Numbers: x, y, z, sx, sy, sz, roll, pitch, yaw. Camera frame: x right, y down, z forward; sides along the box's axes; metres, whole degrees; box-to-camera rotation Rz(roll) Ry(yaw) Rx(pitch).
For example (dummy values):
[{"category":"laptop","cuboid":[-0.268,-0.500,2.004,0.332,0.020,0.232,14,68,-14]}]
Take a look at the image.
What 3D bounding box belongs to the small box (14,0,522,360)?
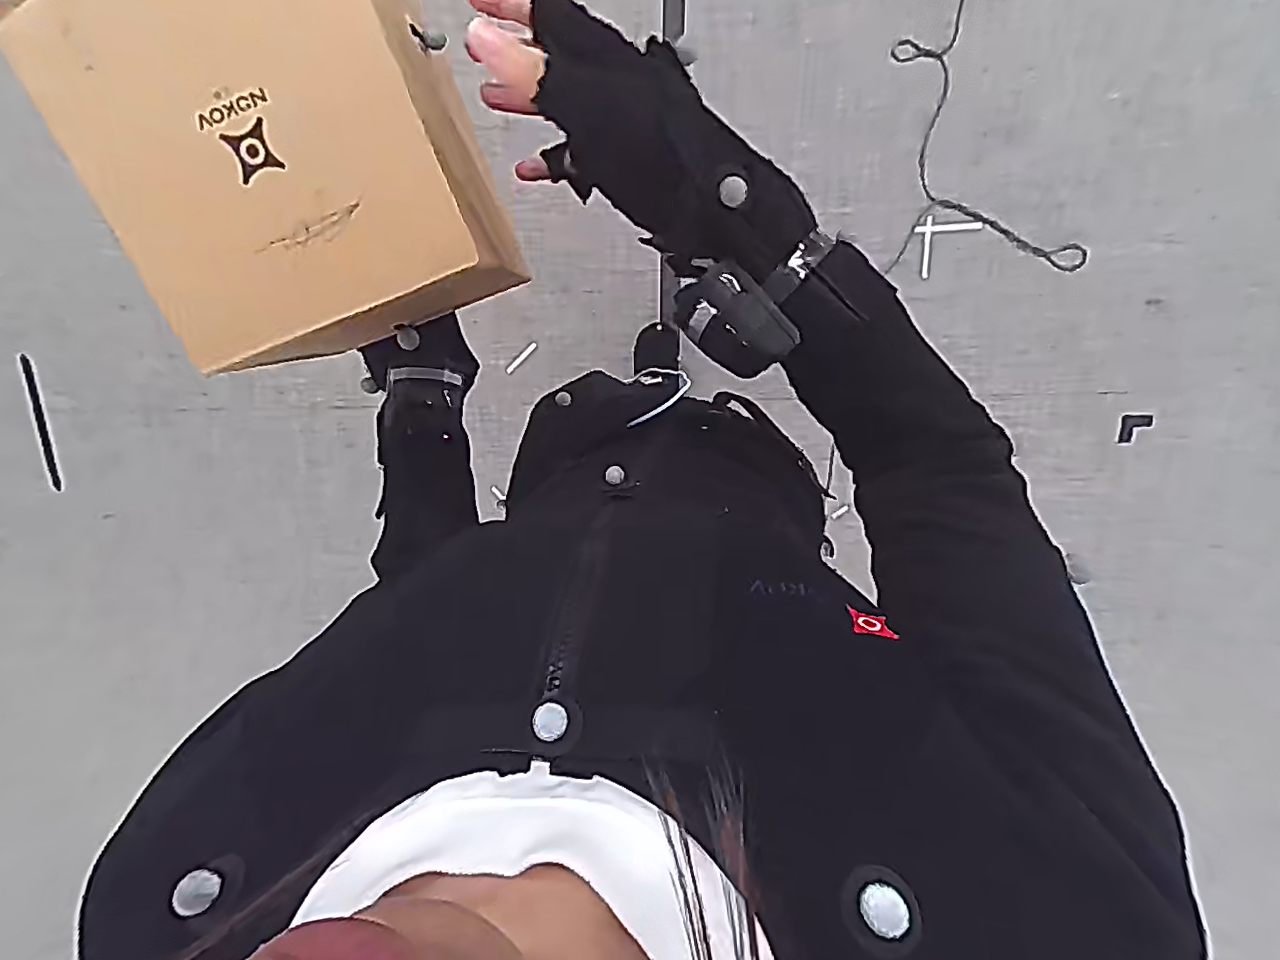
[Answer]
[{"category":"small box","cuboid":[-0.193,-0.189,0.347,0.168,0.176,0.179,-19,106,4]}]
